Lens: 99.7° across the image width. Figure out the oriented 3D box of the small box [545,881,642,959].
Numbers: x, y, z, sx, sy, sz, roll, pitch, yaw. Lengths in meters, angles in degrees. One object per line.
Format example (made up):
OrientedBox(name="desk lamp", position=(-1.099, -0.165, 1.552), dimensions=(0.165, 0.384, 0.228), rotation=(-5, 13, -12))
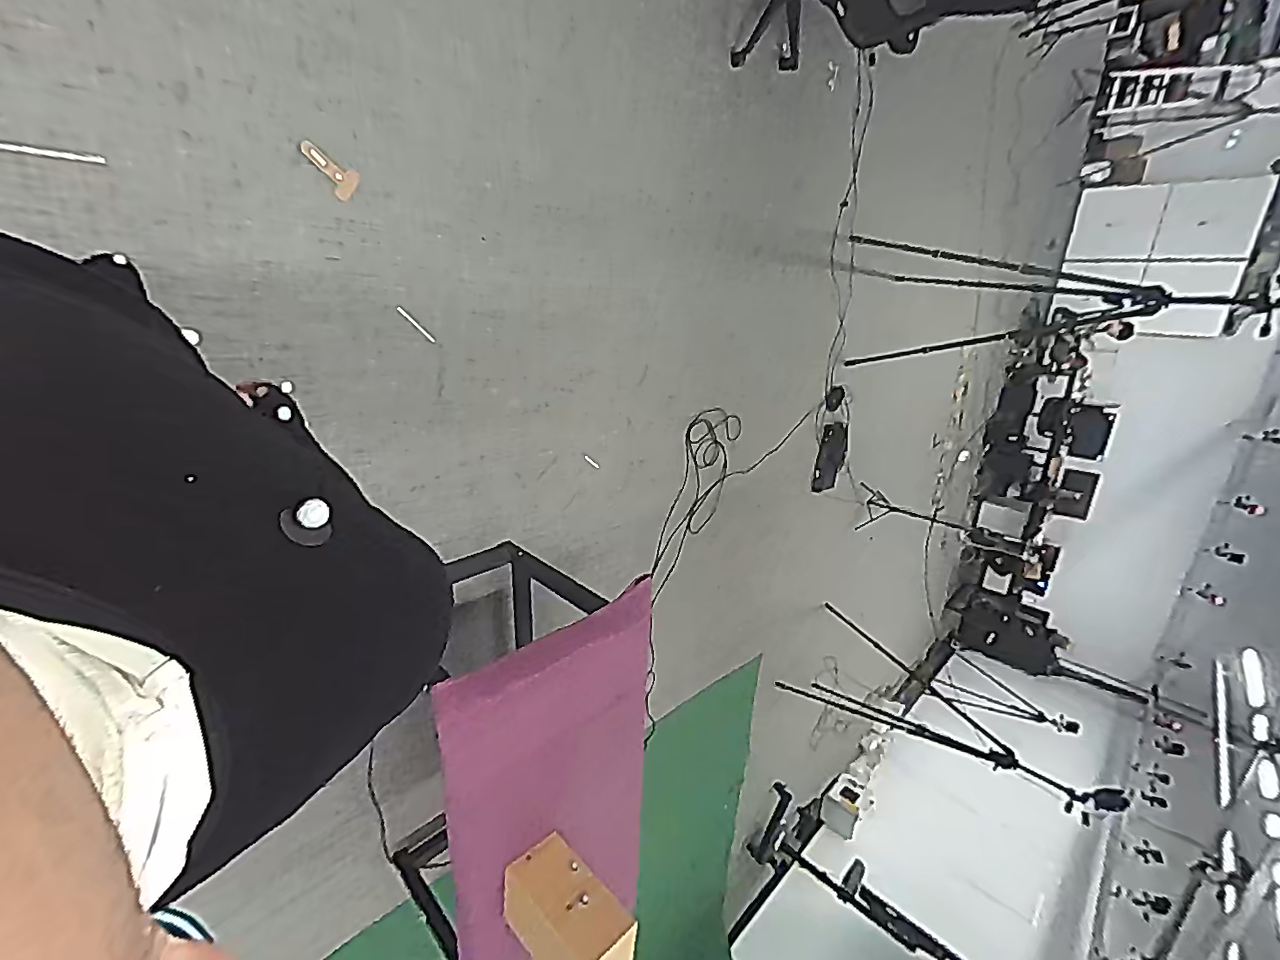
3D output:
OrientedBox(name="small box", position=(-0.120, 1.149, 1.325), dimensions=(0.168, 0.176, 0.179), rotation=(-10, 112, -45))
